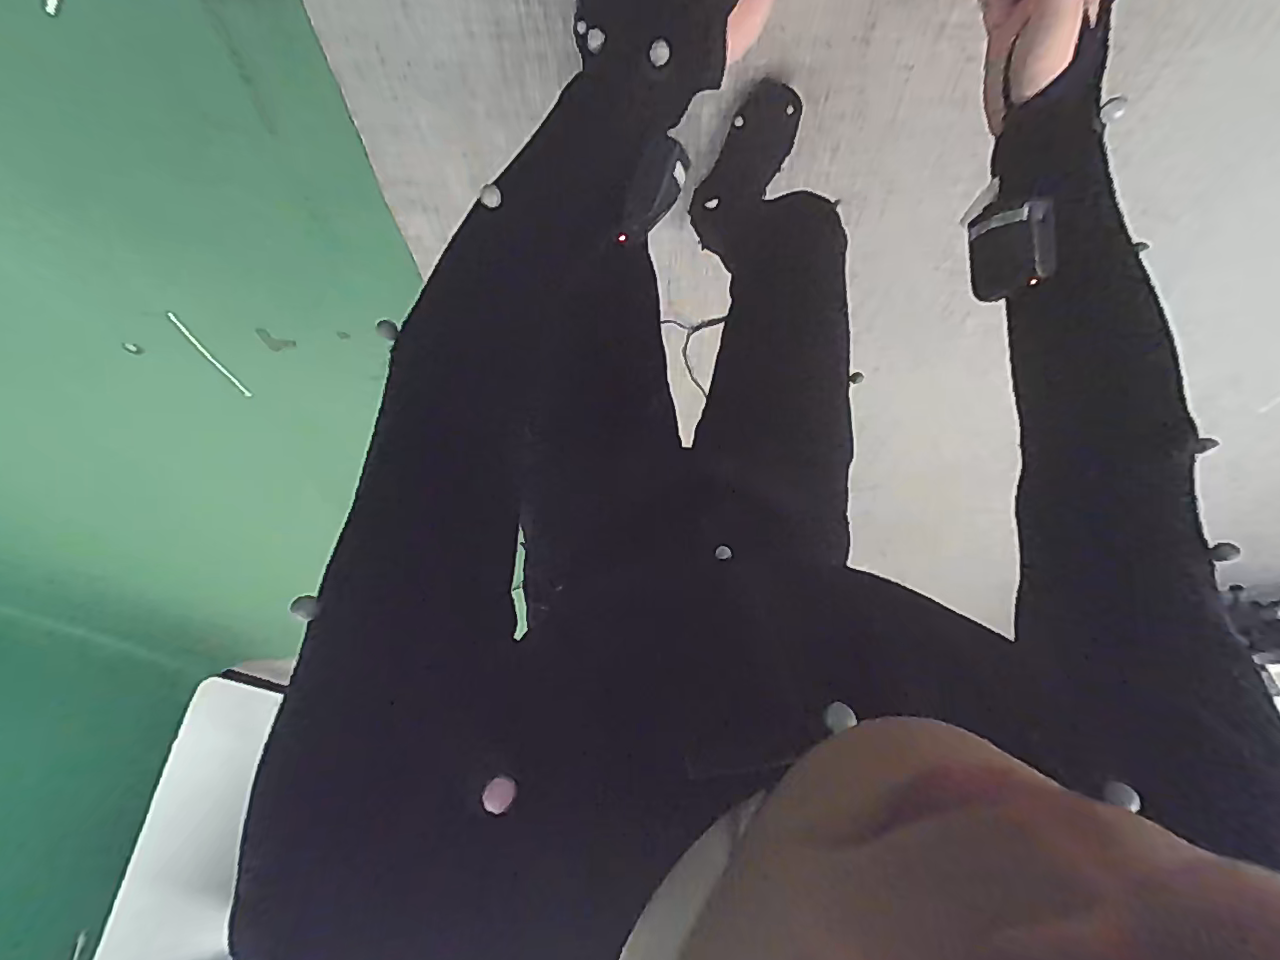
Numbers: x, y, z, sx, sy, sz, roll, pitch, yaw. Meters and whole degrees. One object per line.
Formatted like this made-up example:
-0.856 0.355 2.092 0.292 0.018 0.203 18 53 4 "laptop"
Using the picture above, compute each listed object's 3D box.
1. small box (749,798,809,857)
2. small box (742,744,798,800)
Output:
0.481 1.215 1.901 0.179 0.176 0.168 -5 151 6 "small box"
0.466 1.066 1.970 0.179 0.176 0.168 -6 150 7 "small box"
